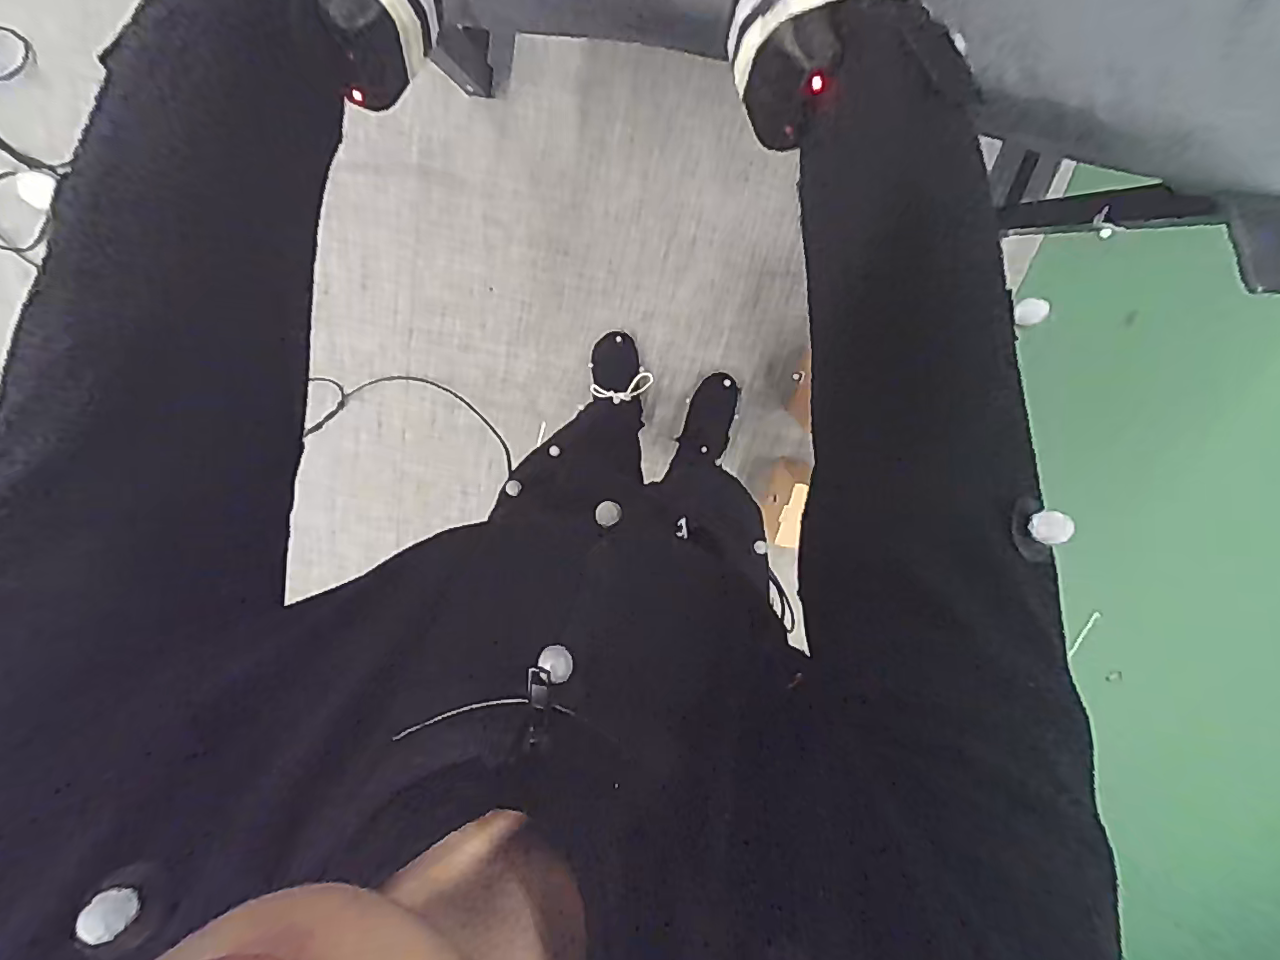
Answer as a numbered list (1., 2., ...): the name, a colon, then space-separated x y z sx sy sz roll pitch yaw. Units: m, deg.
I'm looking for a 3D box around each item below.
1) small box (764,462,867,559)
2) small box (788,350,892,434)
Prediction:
1. small box: 0.420 0.068 1.332 0.179 0.176 0.168 13 113 -4
2. small box: 0.457 -0.193 1.224 0.179 0.176 0.168 8 111 -3
